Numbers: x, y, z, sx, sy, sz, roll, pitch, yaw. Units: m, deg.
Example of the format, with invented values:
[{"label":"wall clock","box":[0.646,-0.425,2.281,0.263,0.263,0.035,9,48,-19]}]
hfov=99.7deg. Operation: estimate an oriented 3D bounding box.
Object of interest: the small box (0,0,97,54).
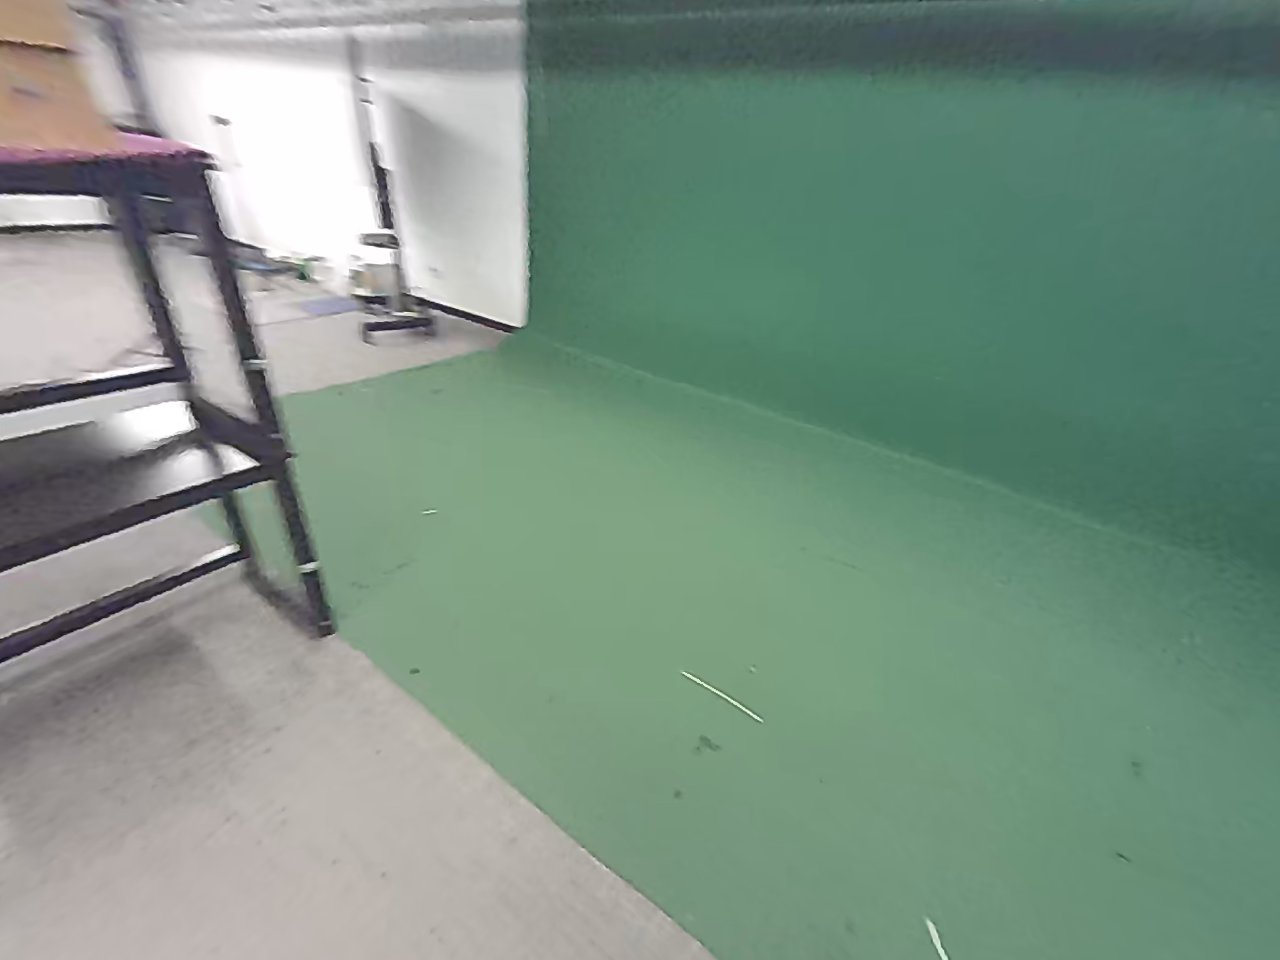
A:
[{"label":"small box","box":[-1.151,-0.879,0.975,0.168,0.176,0.179,22,35,29]}]

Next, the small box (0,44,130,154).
[{"label":"small box","box":[-1.169,-0.742,1.063,0.168,0.176,0.179,22,36,29]}]
